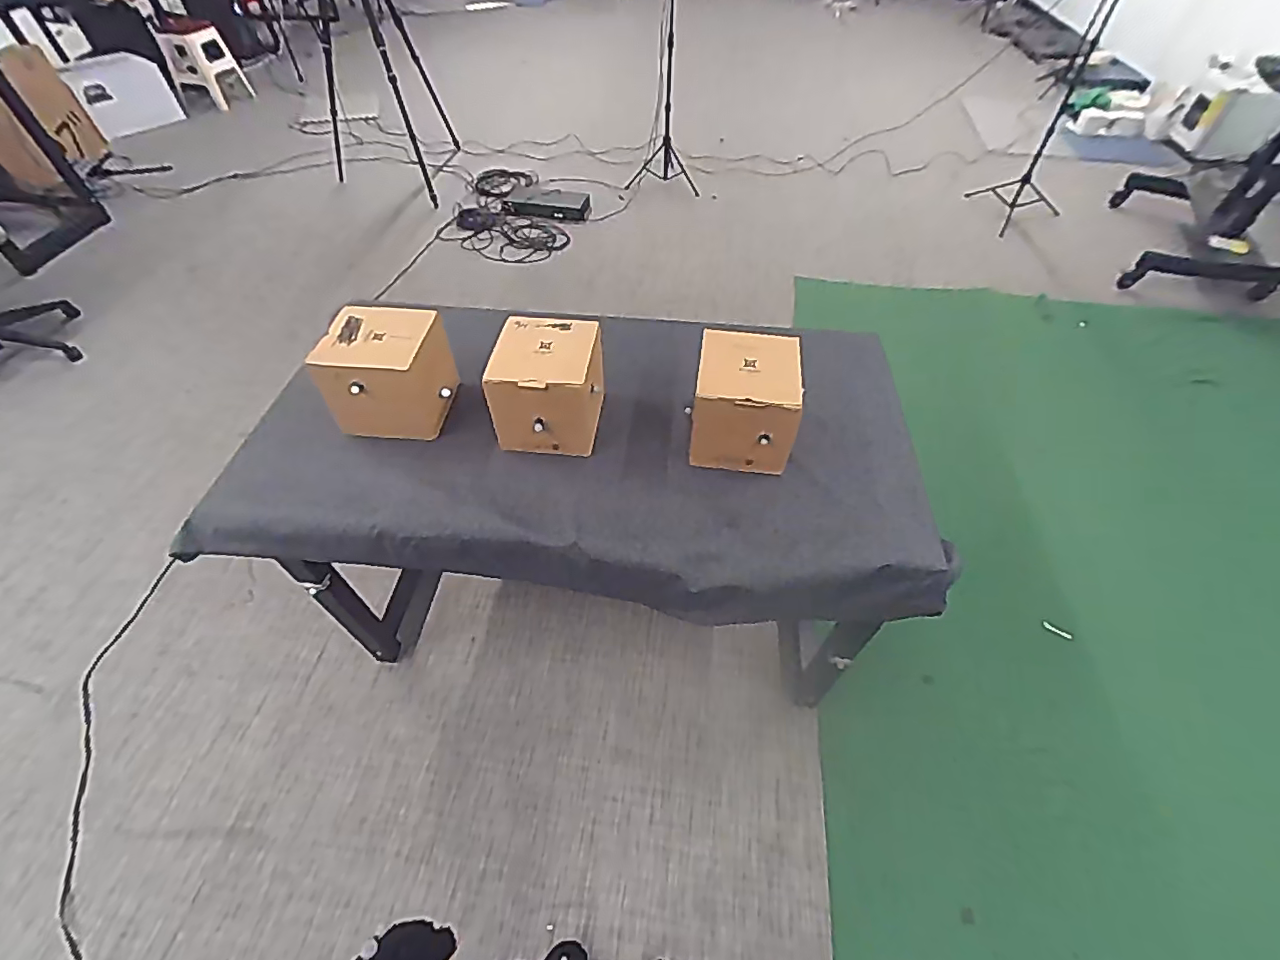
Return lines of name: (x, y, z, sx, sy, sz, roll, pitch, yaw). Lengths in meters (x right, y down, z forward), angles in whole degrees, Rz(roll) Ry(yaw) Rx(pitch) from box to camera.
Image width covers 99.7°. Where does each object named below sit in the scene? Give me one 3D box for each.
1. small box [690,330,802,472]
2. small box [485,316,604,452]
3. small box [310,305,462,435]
small box: (0.179, -0.135, 0.946, 0.168, 0.176, 0.179, 7, 50, 4)
small box: (-0.157, -0.169, 0.969, 0.168, 0.176, 0.179, 5, 52, 3)
small box: (-0.448, -0.198, 0.988, 0.179, 0.176, 0.168, 4, 52, 1)
